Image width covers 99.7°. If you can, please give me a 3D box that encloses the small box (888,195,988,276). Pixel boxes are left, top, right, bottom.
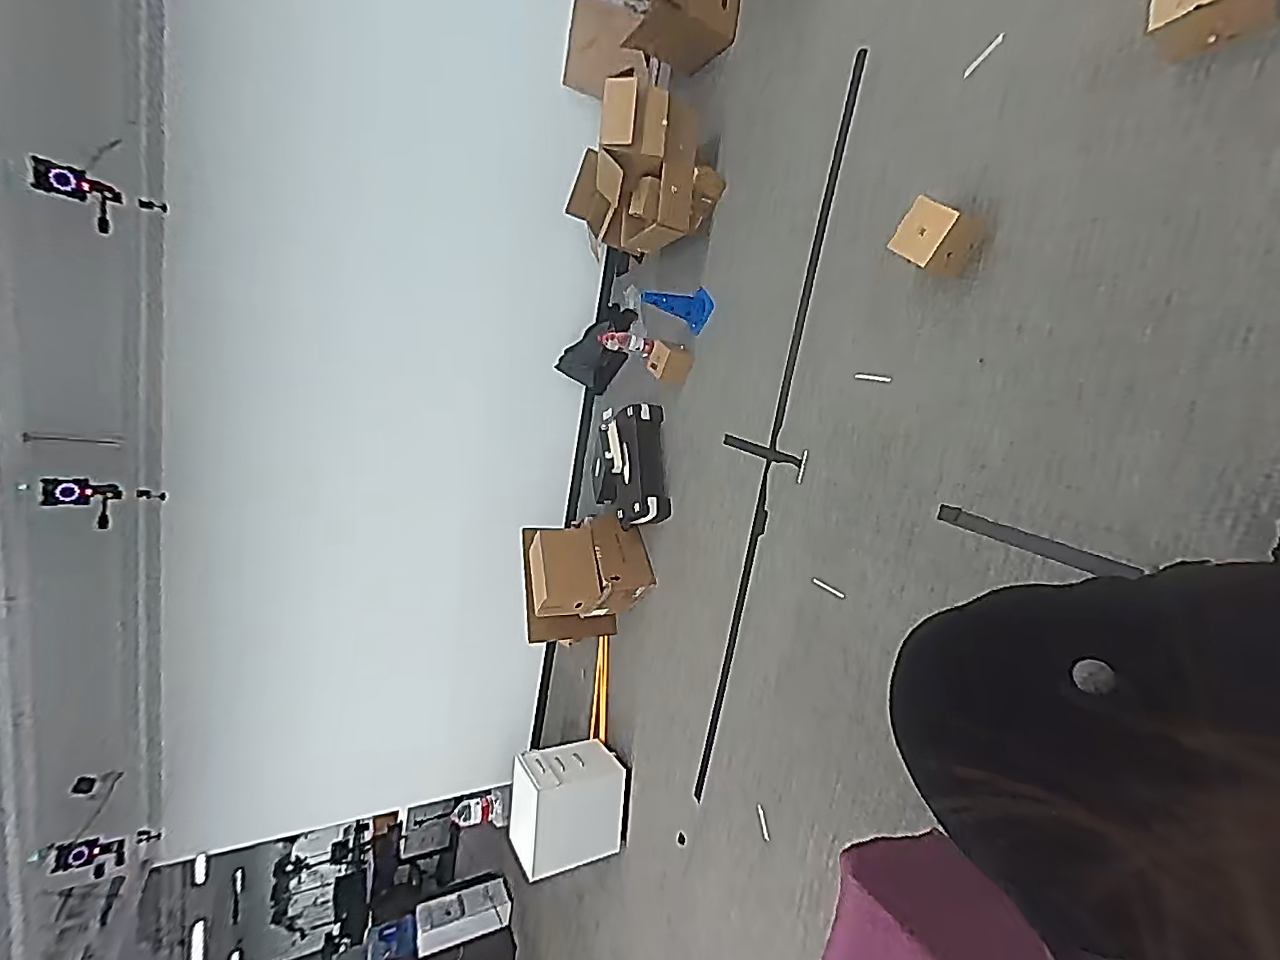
[{"bbox_3d":[0.927,-0.754,1.680,0.168,0.176,0.179,-64,37,33],"label":"small box"}]

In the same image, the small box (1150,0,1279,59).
[{"bbox_3d":[1.249,-1.072,1.166,0.168,0.176,0.179,10,96,59],"label":"small box"}]
